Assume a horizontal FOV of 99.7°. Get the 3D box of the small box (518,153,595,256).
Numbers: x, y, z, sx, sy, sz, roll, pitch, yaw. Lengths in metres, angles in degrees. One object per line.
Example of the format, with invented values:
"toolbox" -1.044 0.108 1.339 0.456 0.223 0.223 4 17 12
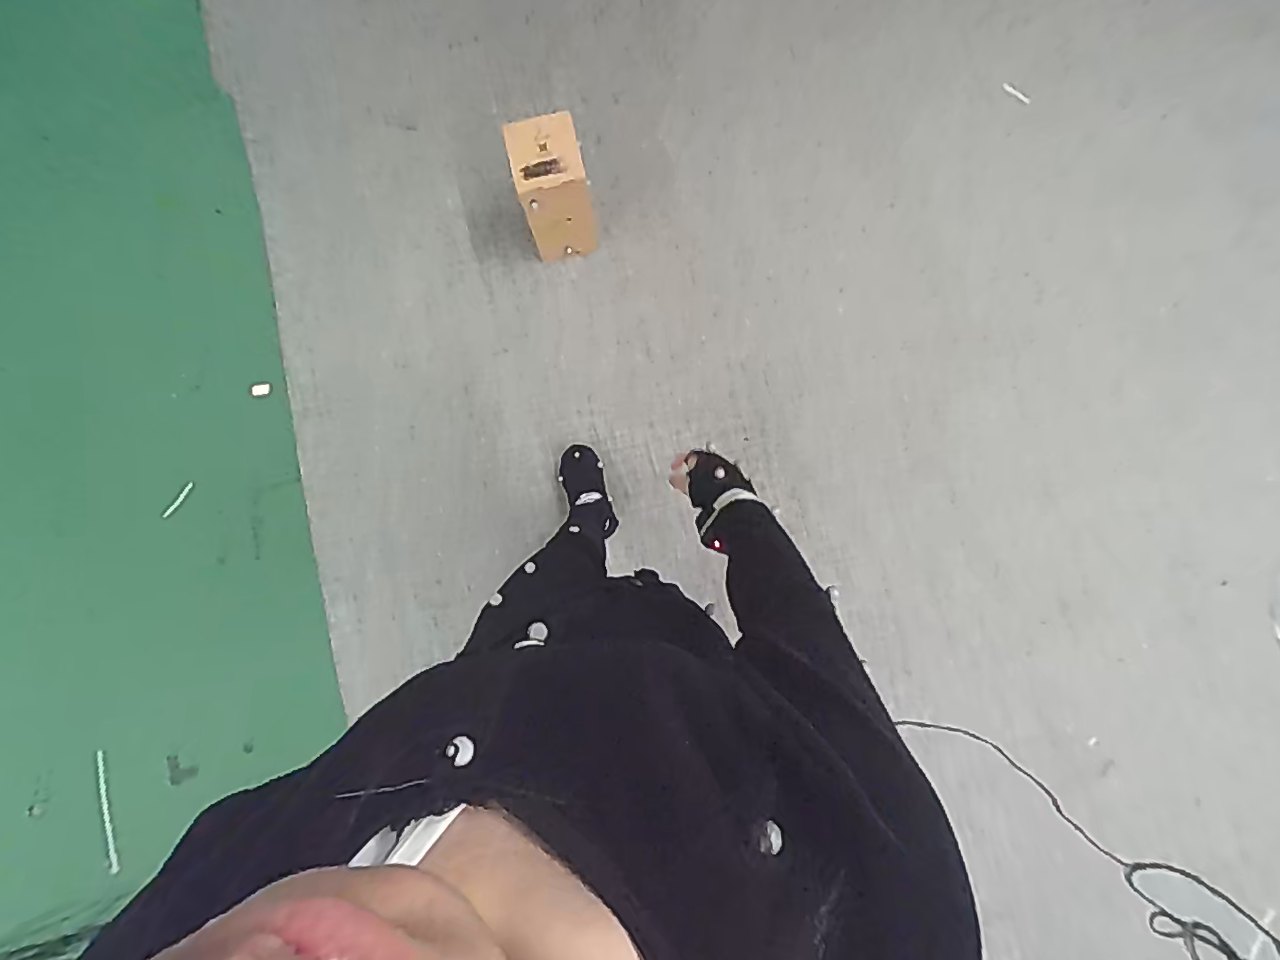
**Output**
"small box" -0.225 -0.750 1.486 0.168 0.176 0.179 -13 86 -1
